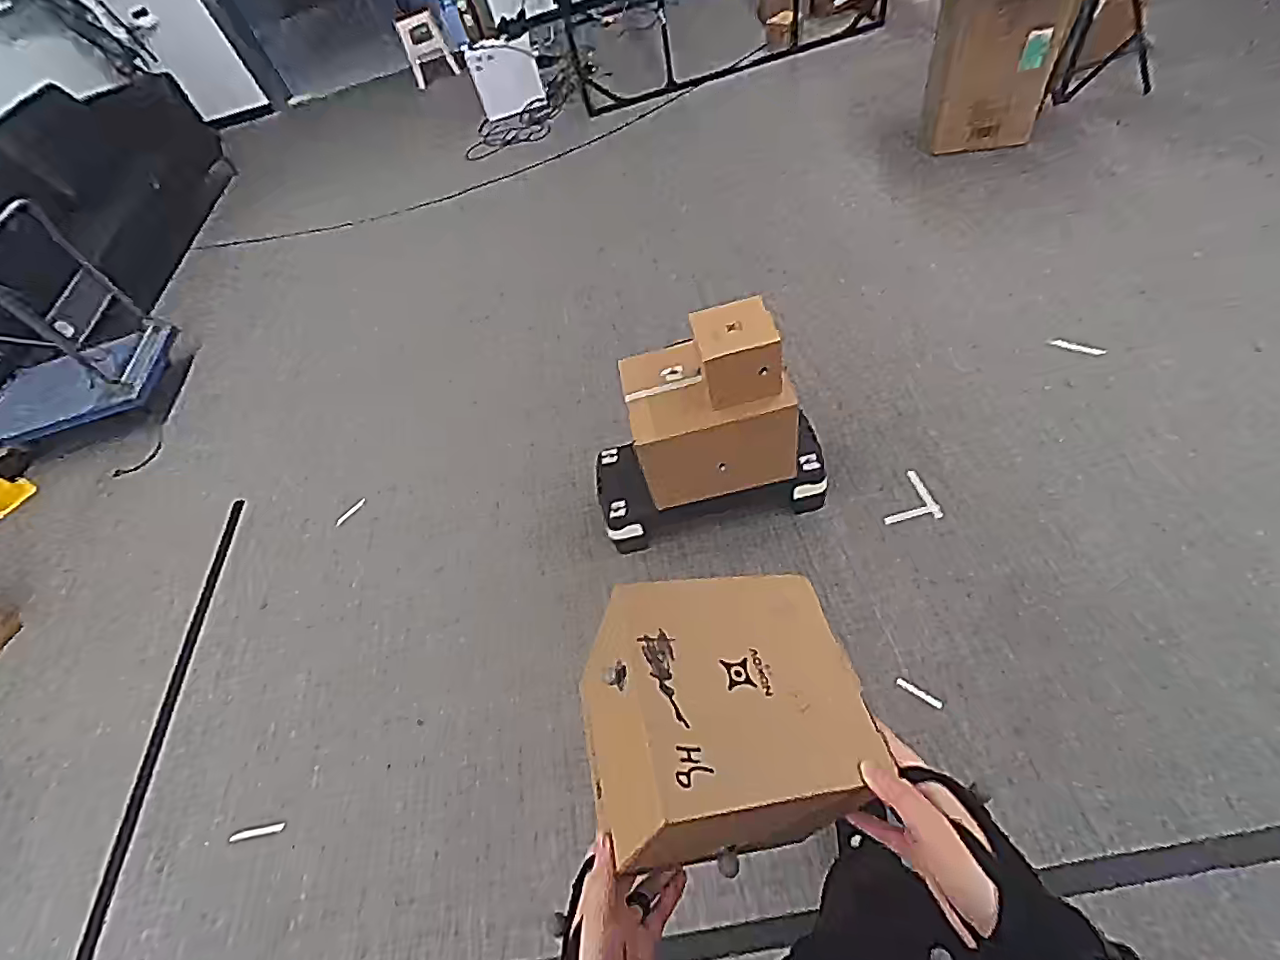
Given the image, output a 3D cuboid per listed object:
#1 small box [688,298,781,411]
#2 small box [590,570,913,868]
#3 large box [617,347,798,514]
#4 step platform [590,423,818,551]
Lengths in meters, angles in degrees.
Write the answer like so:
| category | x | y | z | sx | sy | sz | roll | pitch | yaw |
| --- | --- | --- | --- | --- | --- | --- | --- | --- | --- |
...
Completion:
| category | x | y | z | sx | sy | sz | roll | pitch | yaw |
| --- | --- | --- | --- | --- | --- | --- | --- | --- | --- |
| small box | 0.221 | -0.290 | 1.266 | 0.179 | 0.176 | 0.168 | -15 | 54 | 5 |
| small box | 0.067 | 0.190 | 0.440 | 0.179 | 0.176 | 0.168 | 3 | 44 | -17 |
| large box | 0.186 | -0.151 | 1.485 | 0.408 | 0.320 | 0.320 | -15 | 52 | 5 |
| step platform | 0.187 | 0.011 | 1.668 | 0.684 | 0.204 | 0.286 | -11 | 53 | 8 |
